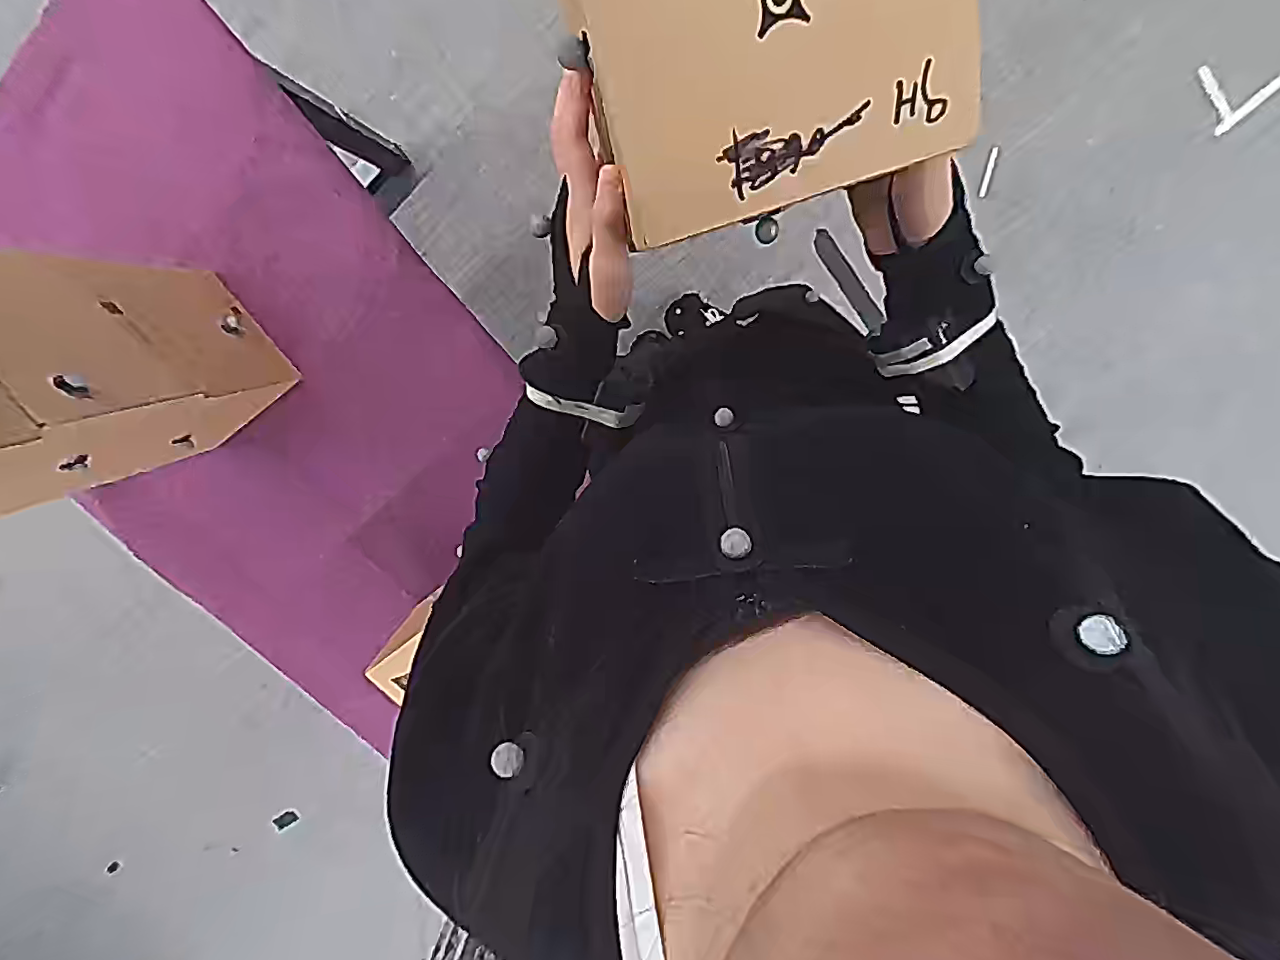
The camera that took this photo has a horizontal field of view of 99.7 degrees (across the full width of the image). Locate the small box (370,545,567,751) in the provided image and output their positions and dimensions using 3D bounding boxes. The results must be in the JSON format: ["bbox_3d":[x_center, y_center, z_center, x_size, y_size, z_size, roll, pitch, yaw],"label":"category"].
[{"bbox_3d":[-0.222,0.224,0.754,0.179,0.176,0.168,-37,104,11],"label":"small box"}]

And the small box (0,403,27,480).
[{"bbox_3d":[-0.567,-0.030,0.334,0.179,0.176,0.168,-31,104,12],"label":"small box"}]

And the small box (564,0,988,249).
[{"bbox_3d":[0.053,-0.239,0.294,0.168,0.176,0.179,-16,112,4],"label":"small box"}]

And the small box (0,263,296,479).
[{"bbox_3d":[-0.567,-0.132,0.645,0.179,0.176,0.168,-33,105,11],"label":"small box"}]
